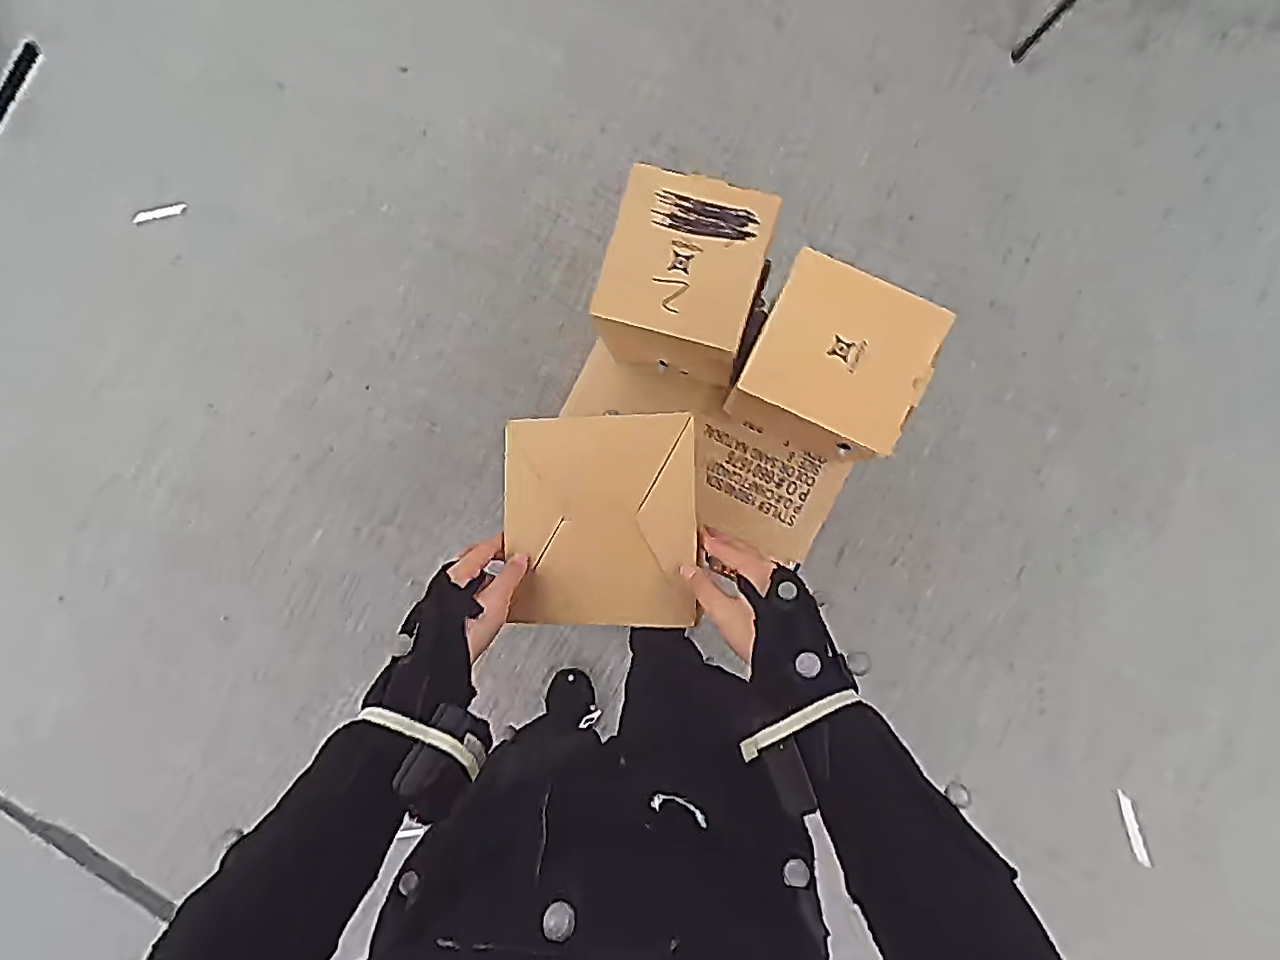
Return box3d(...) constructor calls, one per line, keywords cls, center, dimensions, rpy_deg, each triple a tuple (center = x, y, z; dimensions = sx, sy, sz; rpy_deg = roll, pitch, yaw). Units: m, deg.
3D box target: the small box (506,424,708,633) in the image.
box3d(cls="small box", center=(-0.023, 0.050, 0.531), dimensions=(0.168, 0.176, 0.179), rpy_deg=(-2, 86, 9))
